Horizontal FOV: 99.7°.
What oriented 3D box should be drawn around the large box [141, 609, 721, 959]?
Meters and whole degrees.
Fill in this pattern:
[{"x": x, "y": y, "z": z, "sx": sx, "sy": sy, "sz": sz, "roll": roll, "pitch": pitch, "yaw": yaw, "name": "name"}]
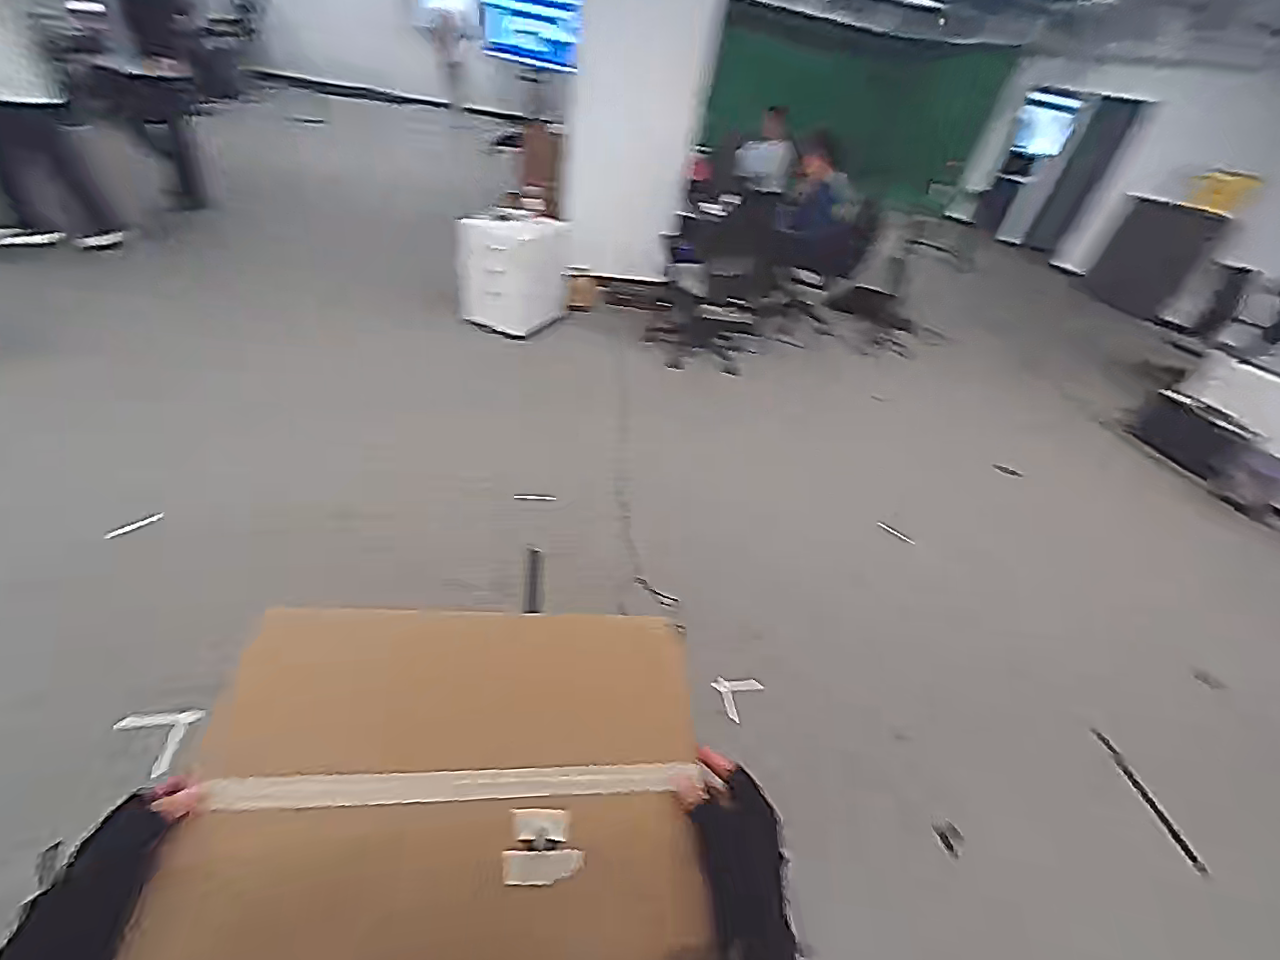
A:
[{"x": -0.173, "y": 0.352, "z": 0.568, "sx": 0.408, "sy": 0.320, "sz": 0.320, "roll": 5, "pitch": 48, "yaw": -11, "name": "large box"}]
